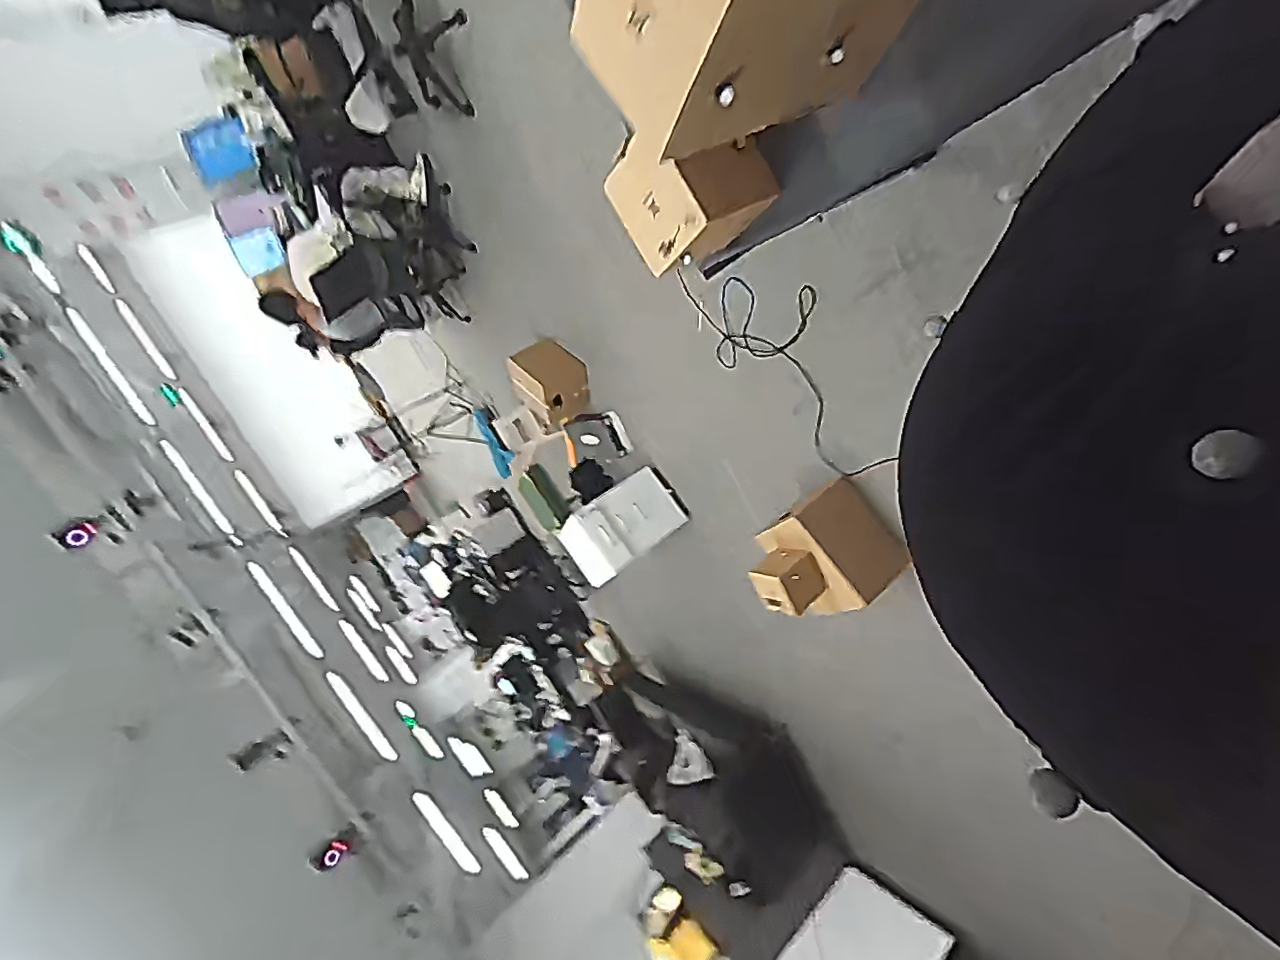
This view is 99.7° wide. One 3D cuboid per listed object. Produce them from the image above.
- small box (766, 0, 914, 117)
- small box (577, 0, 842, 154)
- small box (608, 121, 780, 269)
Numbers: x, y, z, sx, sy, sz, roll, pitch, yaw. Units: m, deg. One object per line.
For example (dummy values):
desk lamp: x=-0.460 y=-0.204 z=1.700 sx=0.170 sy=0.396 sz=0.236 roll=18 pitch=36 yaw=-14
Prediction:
small box: x=0.191 y=-0.549 z=0.587 sx=0.168 sy=0.176 sz=0.179 roll=54 pitch=155 yaw=4
small box: x=0.068 y=-0.464 z=0.519 sx=0.168 sy=0.176 sz=0.179 roll=55 pitch=155 yaw=2
small box: x=0.084 y=-0.475 z=0.862 sx=0.179 sy=0.176 sz=0.168 roll=59 pitch=155 yaw=-6
